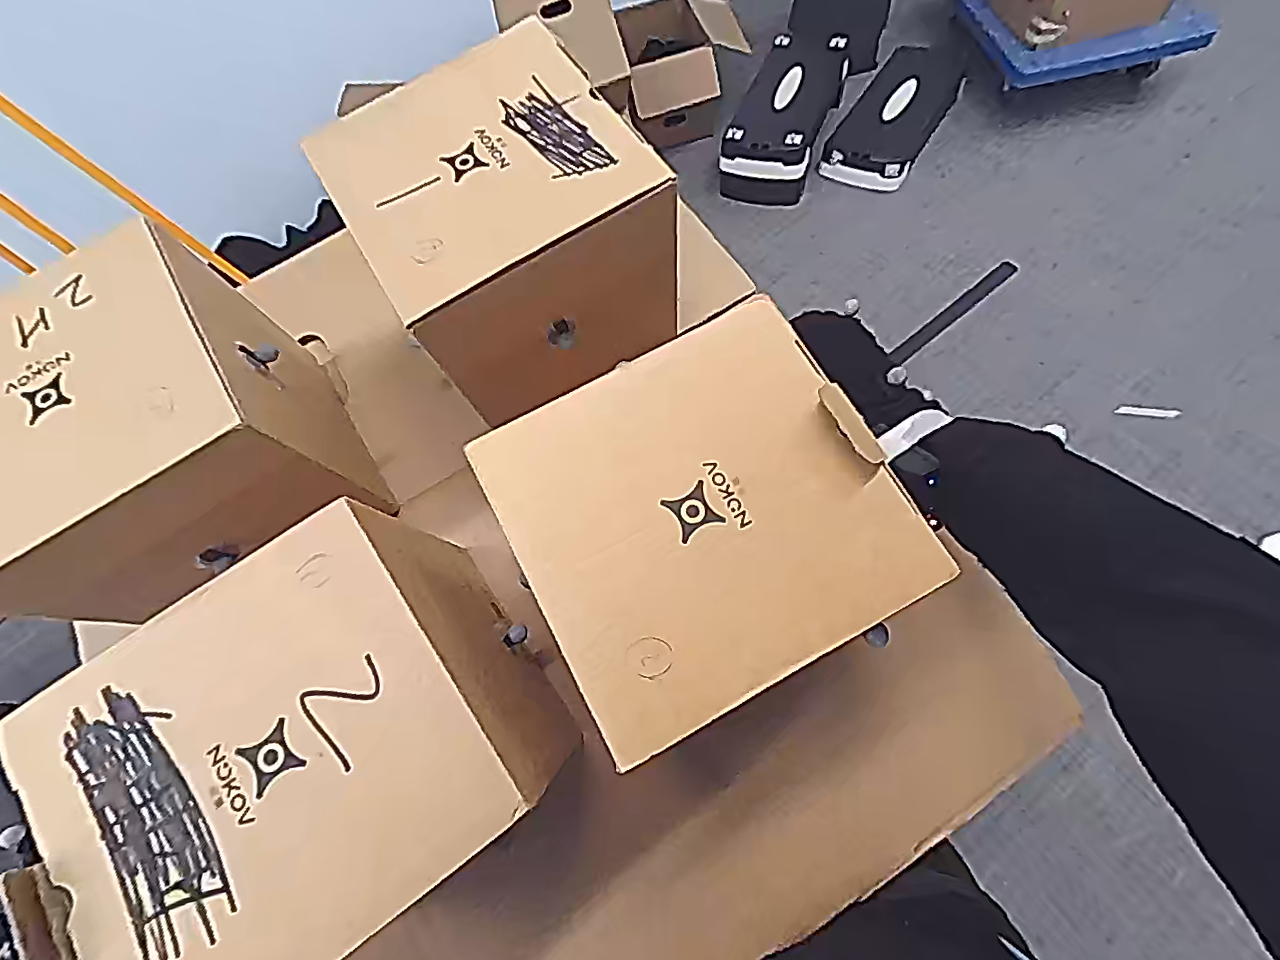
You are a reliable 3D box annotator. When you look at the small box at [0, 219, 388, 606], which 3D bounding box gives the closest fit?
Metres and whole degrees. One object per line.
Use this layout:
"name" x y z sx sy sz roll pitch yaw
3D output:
"small box" -0.312 -0.027 0.374 0.168 0.176 0.179 -33 72 -7
